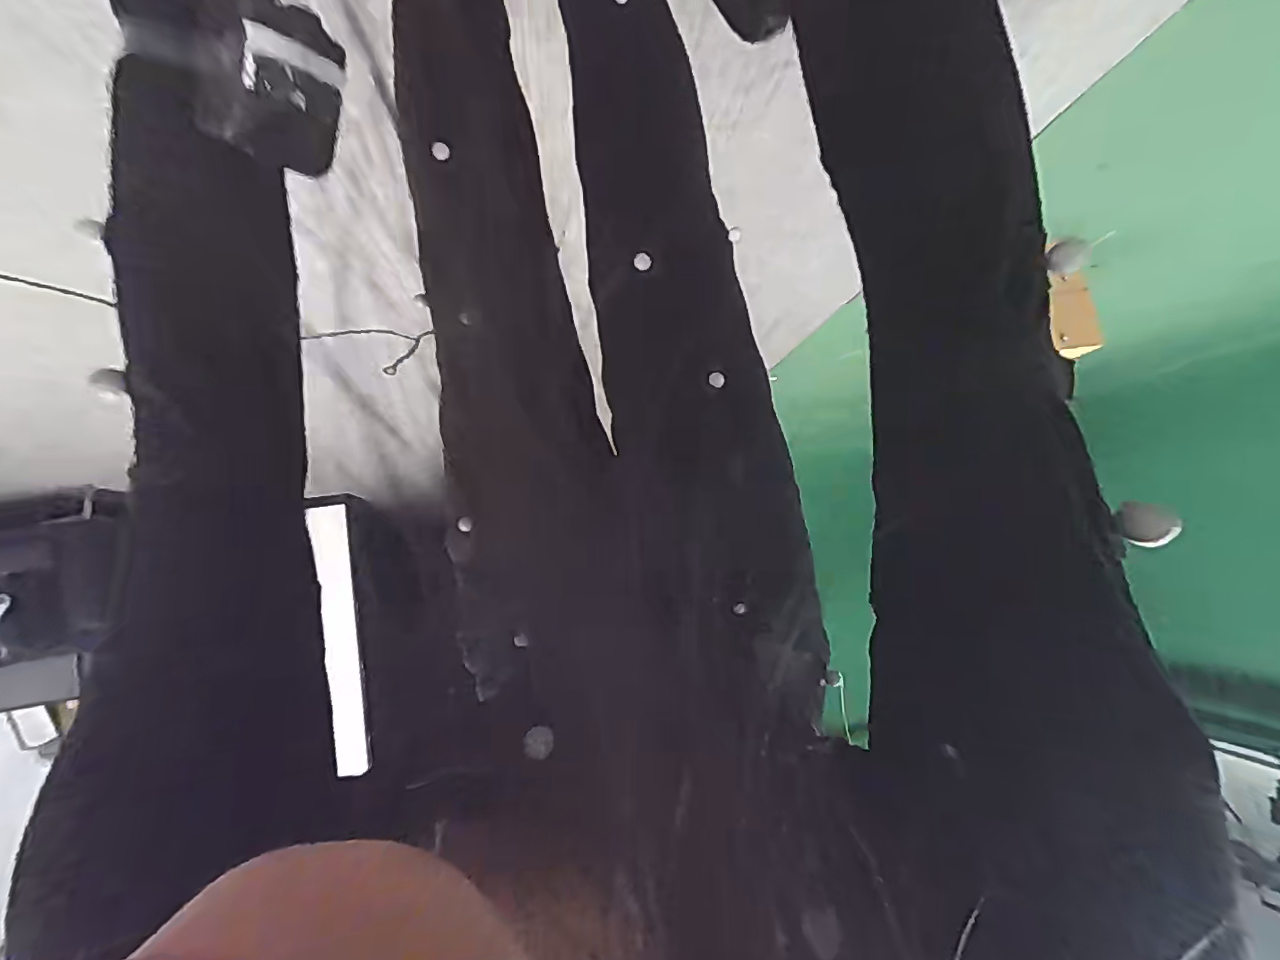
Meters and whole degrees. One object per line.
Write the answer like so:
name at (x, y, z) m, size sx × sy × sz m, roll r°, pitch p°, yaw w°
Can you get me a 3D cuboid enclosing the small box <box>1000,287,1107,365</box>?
small box at (1.213, -0.455, 1.596) m, size 0.179 × 0.176 × 0.168 m, roll -8°, pitch 174°, yaw -6°
